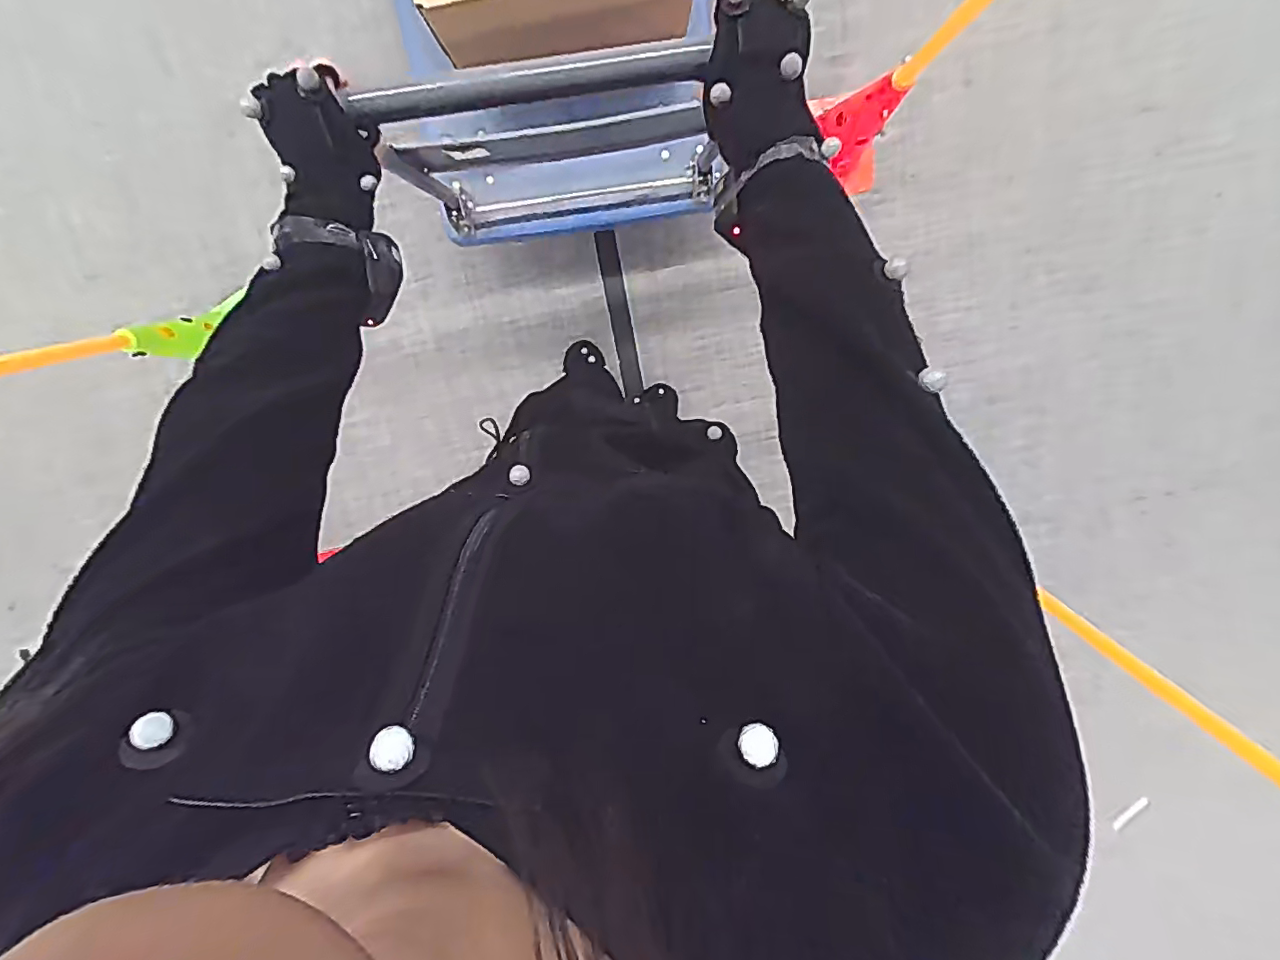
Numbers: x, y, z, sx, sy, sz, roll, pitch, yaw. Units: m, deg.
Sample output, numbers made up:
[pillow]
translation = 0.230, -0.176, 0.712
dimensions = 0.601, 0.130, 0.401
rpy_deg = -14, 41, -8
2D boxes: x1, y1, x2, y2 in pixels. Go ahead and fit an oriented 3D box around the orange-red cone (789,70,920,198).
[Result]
[orange-red cone]
translation = 0.444, -0.707, 1.062
dimensions = 0.199, 0.360, 0.198
rpy_deg = -5, 106, -1
